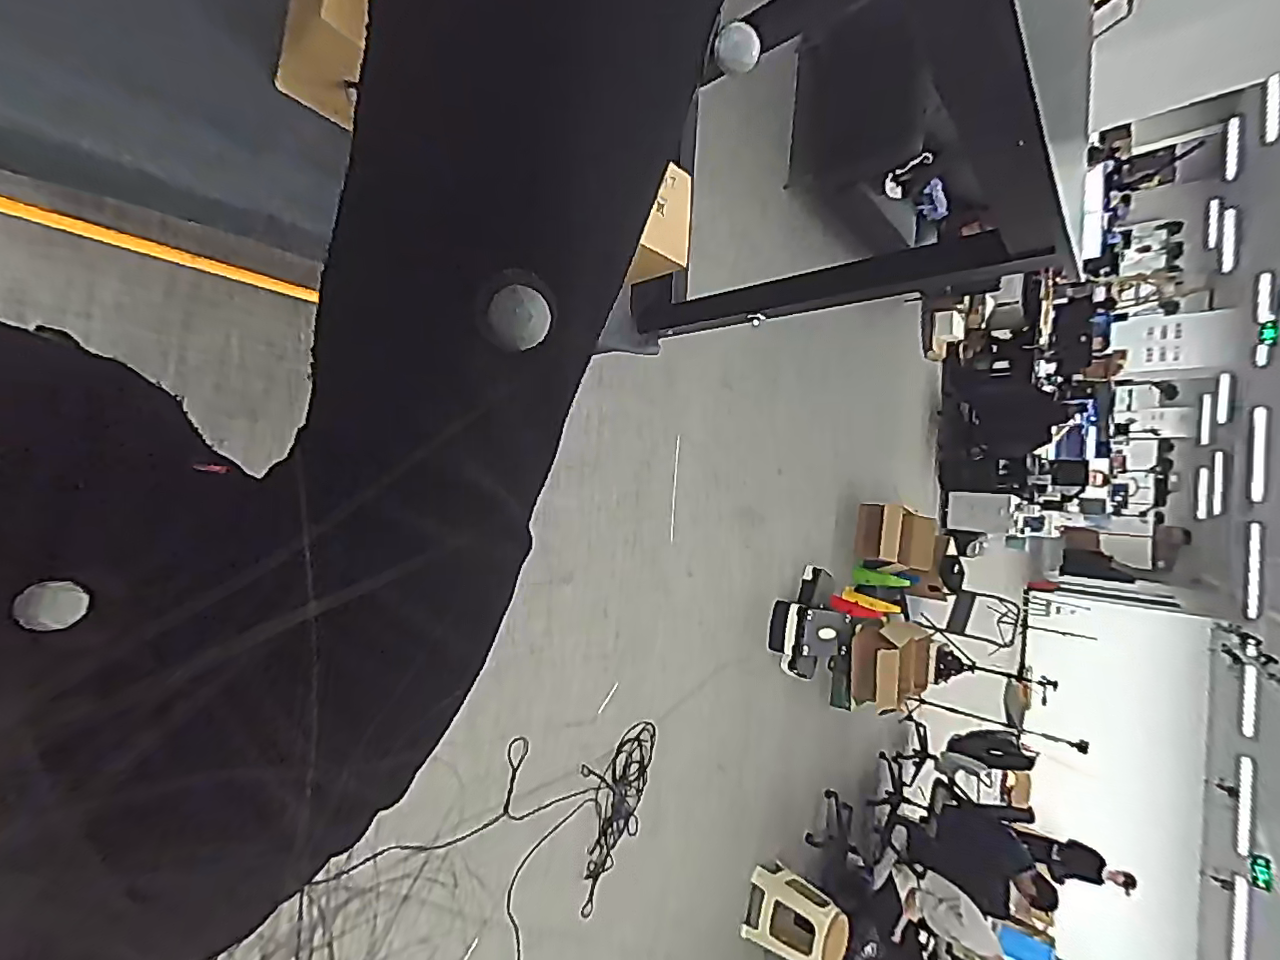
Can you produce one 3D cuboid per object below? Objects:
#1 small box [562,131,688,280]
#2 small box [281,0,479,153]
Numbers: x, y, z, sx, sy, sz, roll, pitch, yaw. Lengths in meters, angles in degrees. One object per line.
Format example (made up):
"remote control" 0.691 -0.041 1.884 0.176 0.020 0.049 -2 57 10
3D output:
"small box" -0.030 -0.494 1.009 0.168 0.176 0.179 3 89 -48
"small box" -0.328 -0.558 0.681 0.168 0.176 0.179 11 84 -48
